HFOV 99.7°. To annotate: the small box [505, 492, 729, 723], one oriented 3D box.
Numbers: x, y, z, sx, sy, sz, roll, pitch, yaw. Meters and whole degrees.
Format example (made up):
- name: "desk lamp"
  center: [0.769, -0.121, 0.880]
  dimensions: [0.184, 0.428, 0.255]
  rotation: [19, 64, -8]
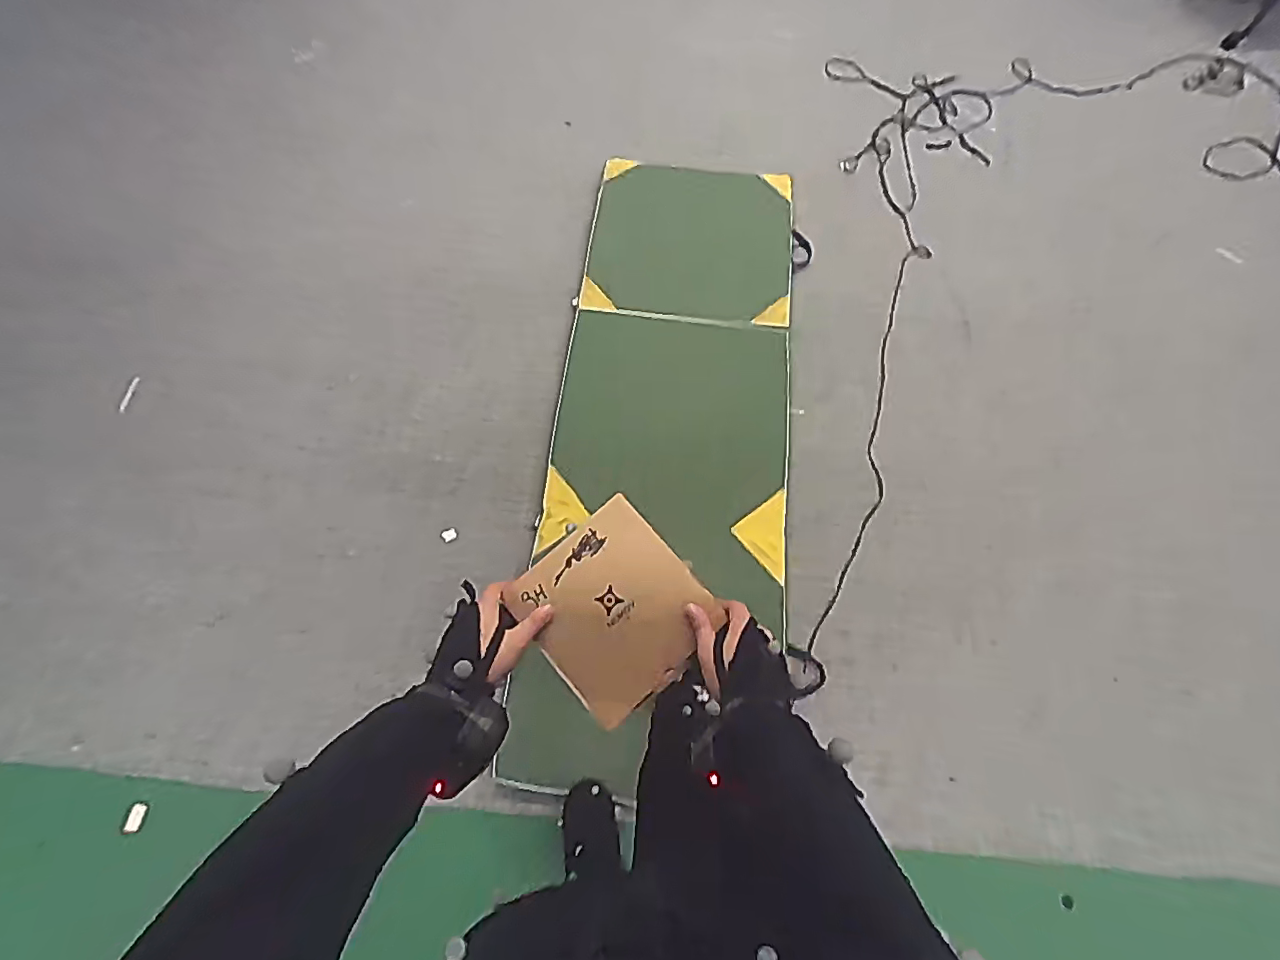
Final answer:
- name: "small box"
  center: [-0.022, 0.142, 0.629]
  dimensions: [0.168, 0.176, 0.179]
  rotation: [-40, 79, -9]
